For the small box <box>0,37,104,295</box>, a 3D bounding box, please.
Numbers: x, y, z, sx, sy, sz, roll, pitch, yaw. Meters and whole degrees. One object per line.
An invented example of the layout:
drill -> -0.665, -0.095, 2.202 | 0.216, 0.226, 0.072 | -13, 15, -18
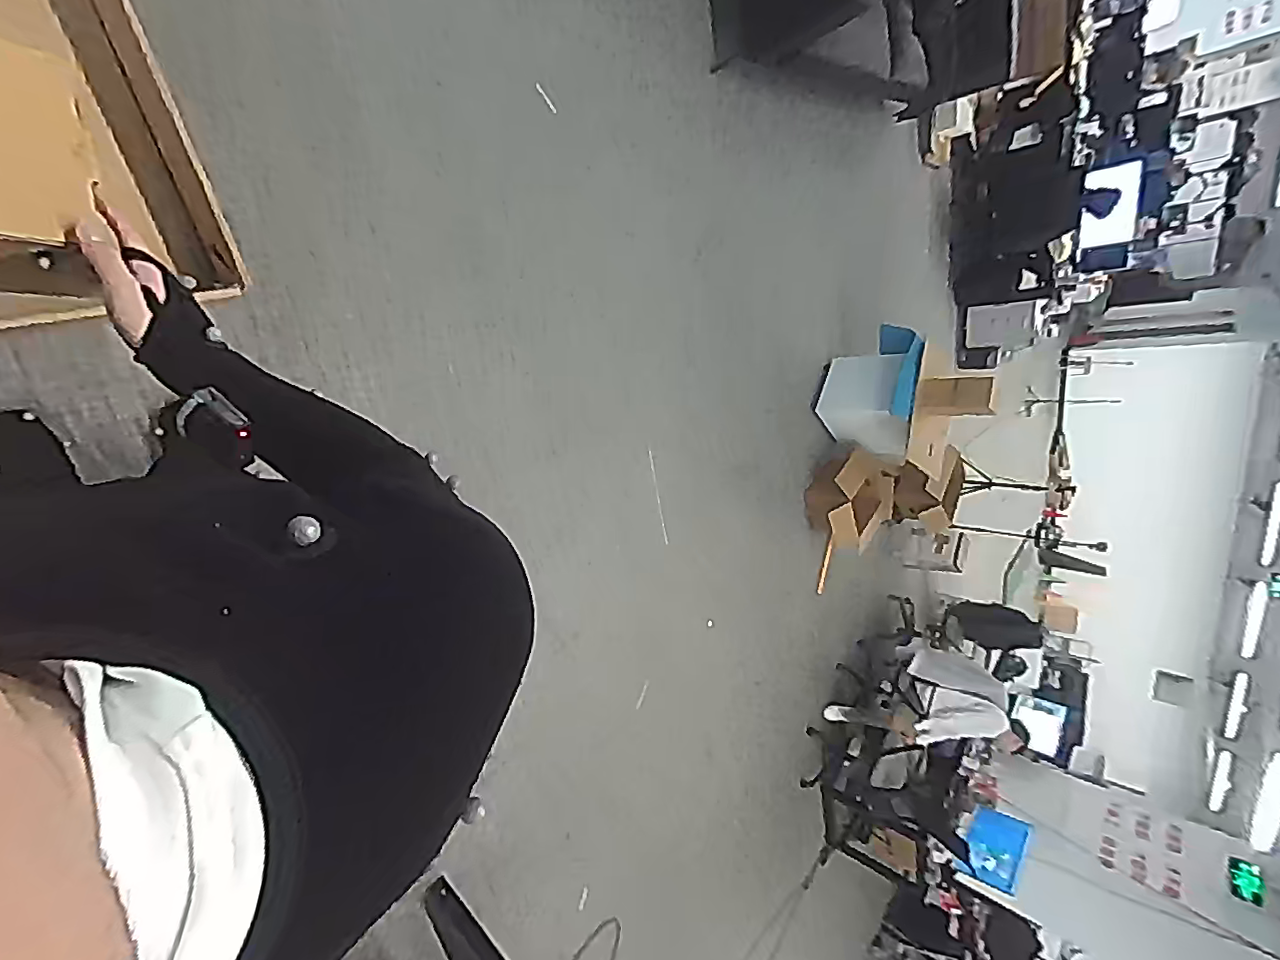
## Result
small box -> -0.606, -0.273, 0.475 | 0.179, 0.176, 0.168 | -12, 96, -45
